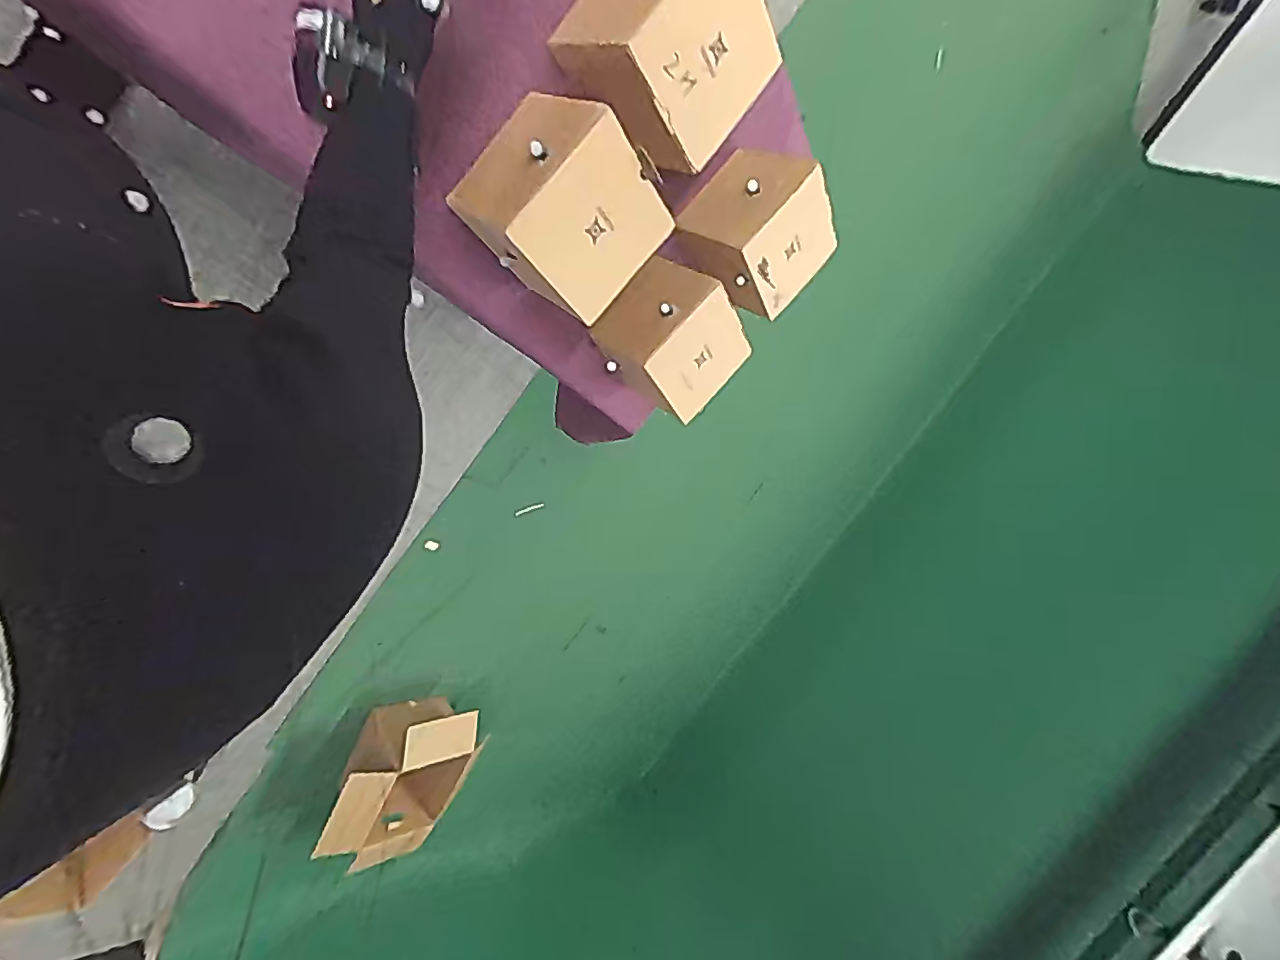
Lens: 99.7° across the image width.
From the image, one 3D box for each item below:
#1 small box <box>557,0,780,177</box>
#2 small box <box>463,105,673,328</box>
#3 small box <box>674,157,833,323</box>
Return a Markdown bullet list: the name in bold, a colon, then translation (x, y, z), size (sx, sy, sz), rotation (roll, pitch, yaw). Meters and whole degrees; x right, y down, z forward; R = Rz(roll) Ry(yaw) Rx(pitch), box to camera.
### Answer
- **small box**: translation (0.033, -0.513, 0.656), size (0.179, 0.176, 0.168), rotation (-51, 142, 2)
- **small box**: translation (-0.098, -0.332, 0.683), size (0.179, 0.176, 0.168), rotation (-50, 142, 1)
- **small box**: translation (0.189, -0.405, 0.905), size (0.179, 0.176, 0.168), rotation (-49, 142, -2)
